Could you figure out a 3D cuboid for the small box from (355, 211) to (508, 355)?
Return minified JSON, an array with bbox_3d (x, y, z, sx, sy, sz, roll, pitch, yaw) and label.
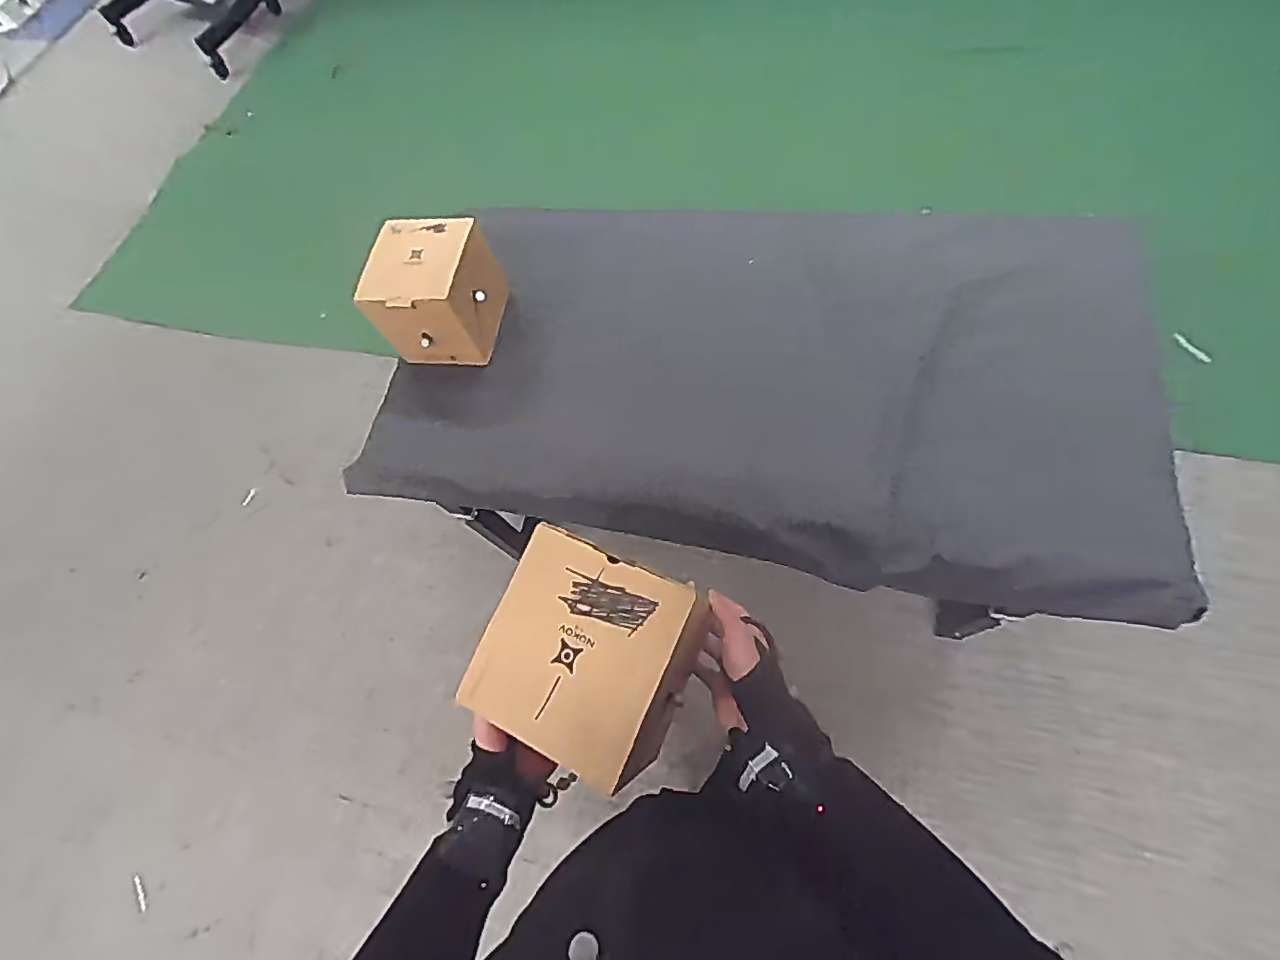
[{"bbox_3d":[-0.348,-0.334,0.940,0.168,0.176,0.179,4,69,11],"label":"small box"}]
